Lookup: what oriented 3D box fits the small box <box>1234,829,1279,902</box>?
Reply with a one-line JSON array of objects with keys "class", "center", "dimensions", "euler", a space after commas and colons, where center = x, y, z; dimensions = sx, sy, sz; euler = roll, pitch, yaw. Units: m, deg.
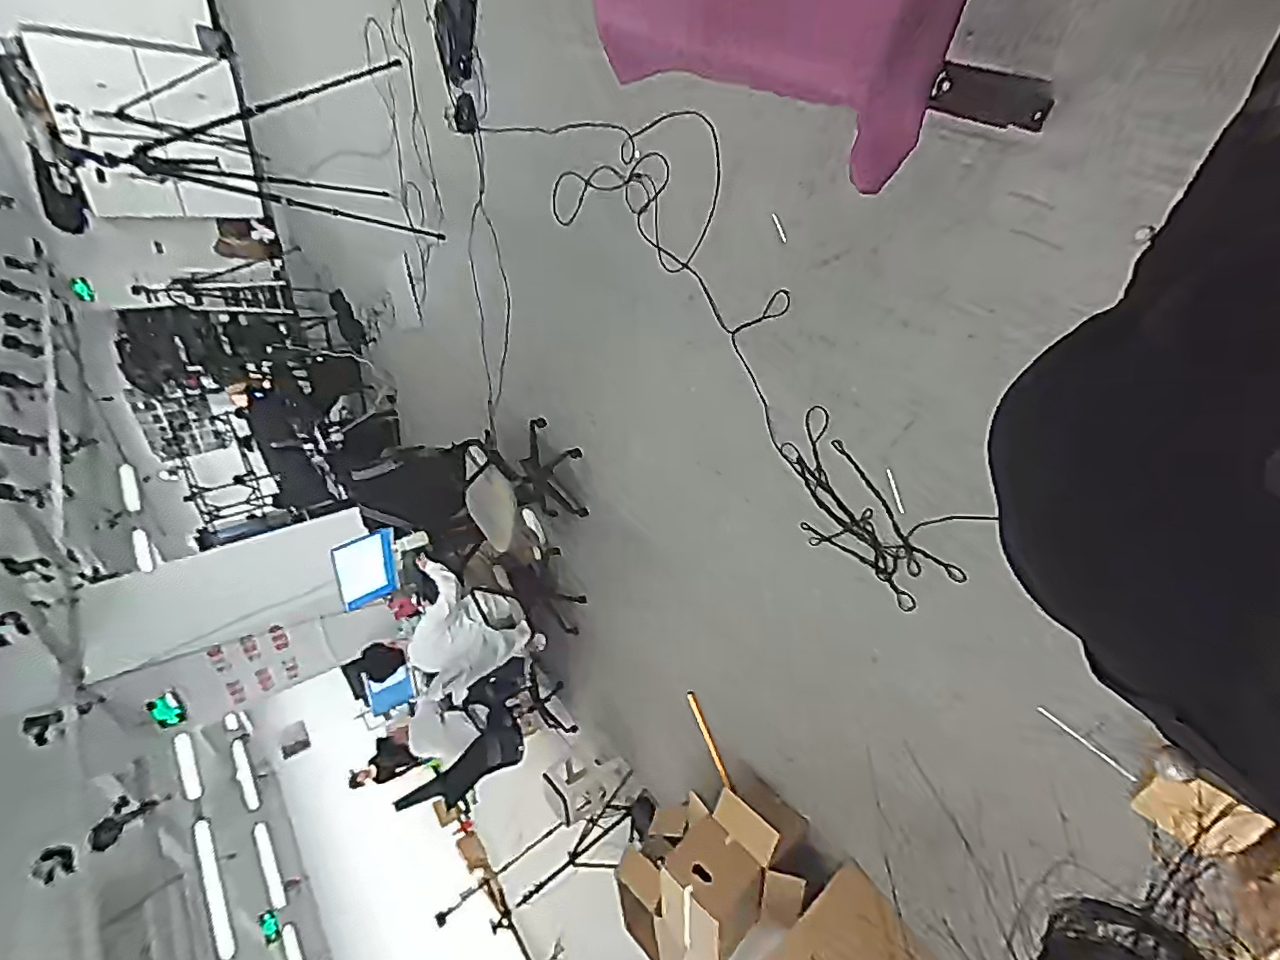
[{"class": "small box", "center": [1.372, 0.828, 1.086], "dimensions": [0.179, 0.176, 0.168], "euler": [42, 137, 32]}]

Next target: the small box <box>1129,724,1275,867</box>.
[{"class": "small box", "center": [1.239, 0.687, 1.191], "dimensions": [0.168, 0.176, 0.179], "euler": [33, 130, 38]}]

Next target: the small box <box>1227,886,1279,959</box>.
[{"class": "small box", "center": [1.252, 0.878, 0.986], "dimensions": [0.168, 0.176, 0.179], "euler": [43, 138, 31]}]
